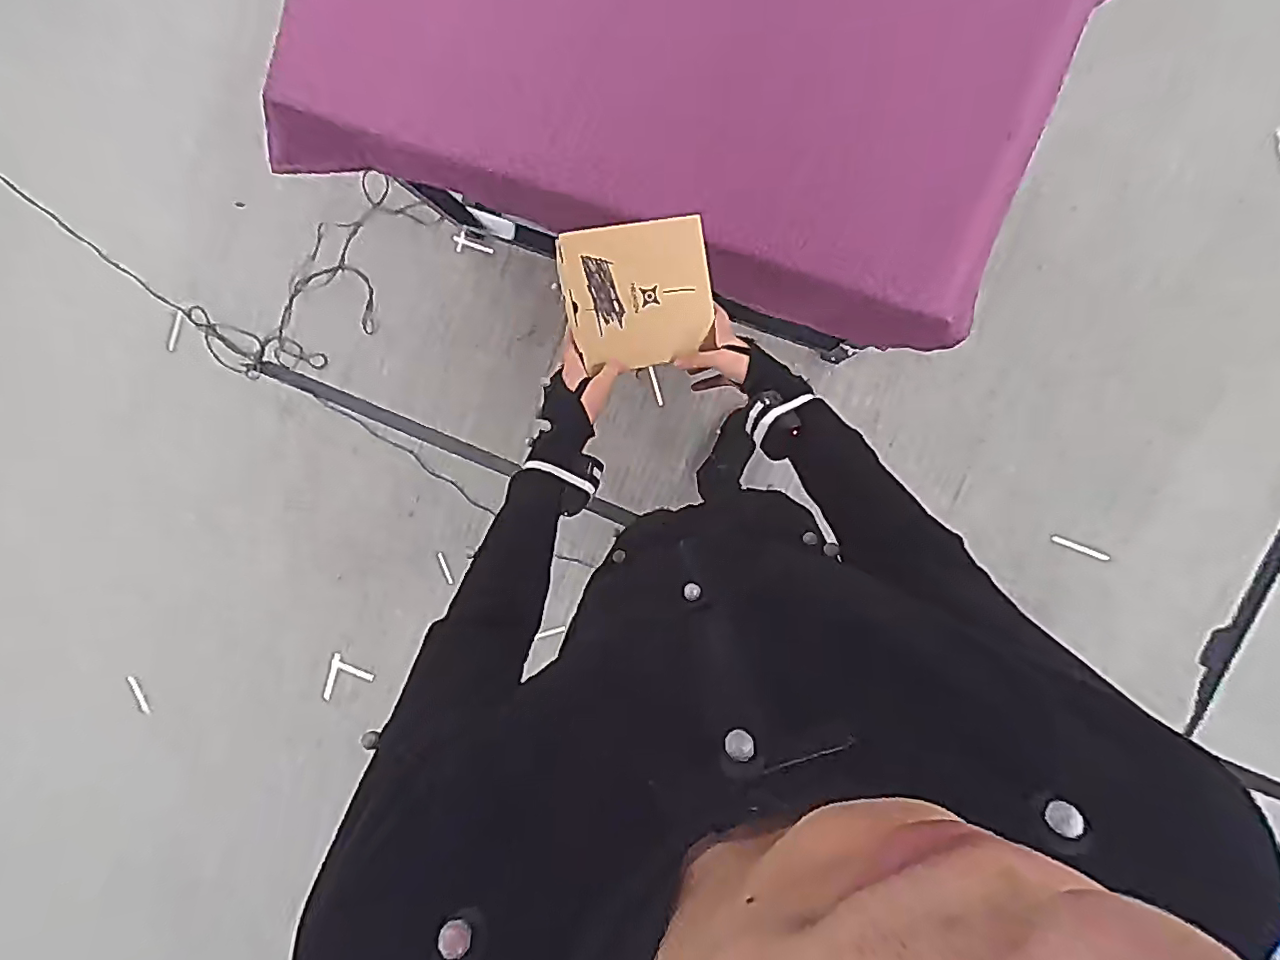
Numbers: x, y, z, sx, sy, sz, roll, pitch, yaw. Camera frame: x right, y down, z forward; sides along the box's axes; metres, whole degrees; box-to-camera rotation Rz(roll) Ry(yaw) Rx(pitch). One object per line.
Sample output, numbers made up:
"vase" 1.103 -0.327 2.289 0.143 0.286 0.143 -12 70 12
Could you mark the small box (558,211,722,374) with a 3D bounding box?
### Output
"small box" -0.007 -0.236 0.720 0.179 0.176 0.168 -12 102 -6
